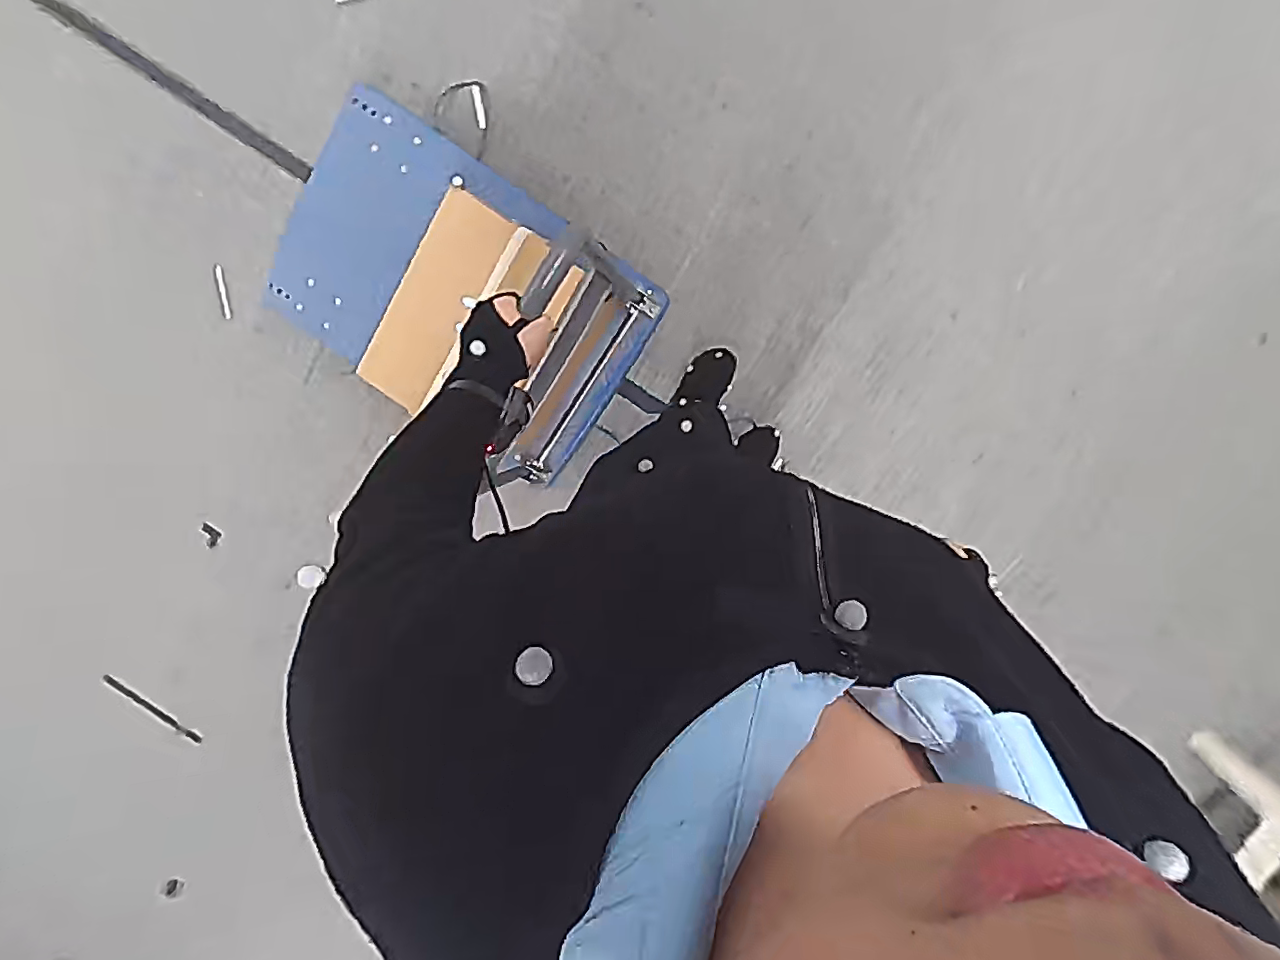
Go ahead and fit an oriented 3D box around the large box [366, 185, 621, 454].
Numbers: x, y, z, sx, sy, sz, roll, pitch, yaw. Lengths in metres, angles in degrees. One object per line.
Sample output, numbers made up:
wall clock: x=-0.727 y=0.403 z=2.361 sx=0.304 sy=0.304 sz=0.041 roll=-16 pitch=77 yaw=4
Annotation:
large box: x=-0.290 y=-0.316 z=1.163 sx=0.320 sy=0.320 sz=0.408 roll=34 pitch=102 yaw=-1
